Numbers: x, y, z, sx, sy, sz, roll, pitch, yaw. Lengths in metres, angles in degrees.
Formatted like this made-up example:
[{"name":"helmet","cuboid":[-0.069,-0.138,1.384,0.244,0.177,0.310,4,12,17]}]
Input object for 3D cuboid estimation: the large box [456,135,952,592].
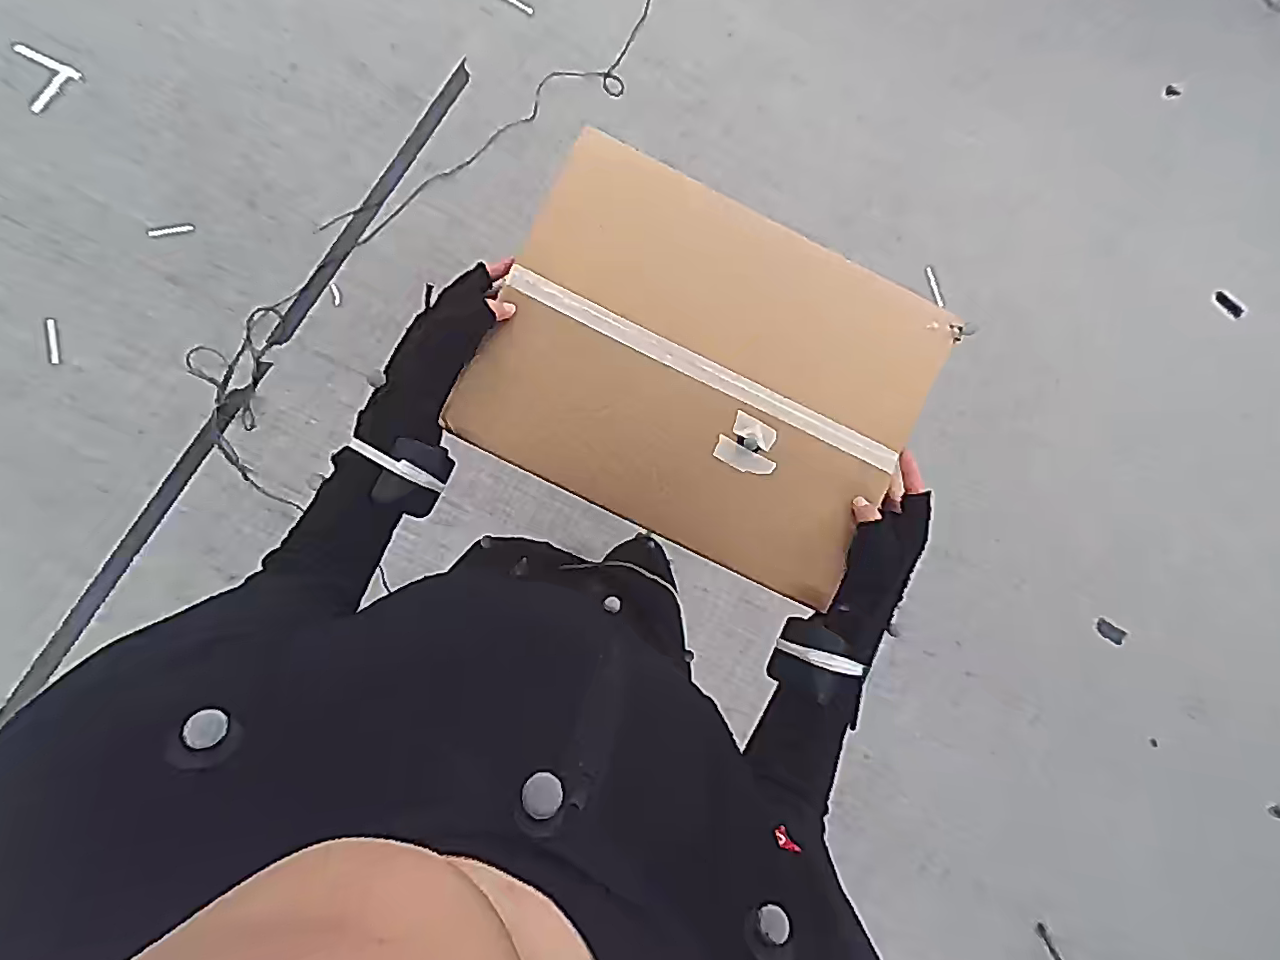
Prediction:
[{"name":"large box","cuboid":[0.057,-0.111,0.668,0.408,0.320,0.320,27,90,-3]}]
